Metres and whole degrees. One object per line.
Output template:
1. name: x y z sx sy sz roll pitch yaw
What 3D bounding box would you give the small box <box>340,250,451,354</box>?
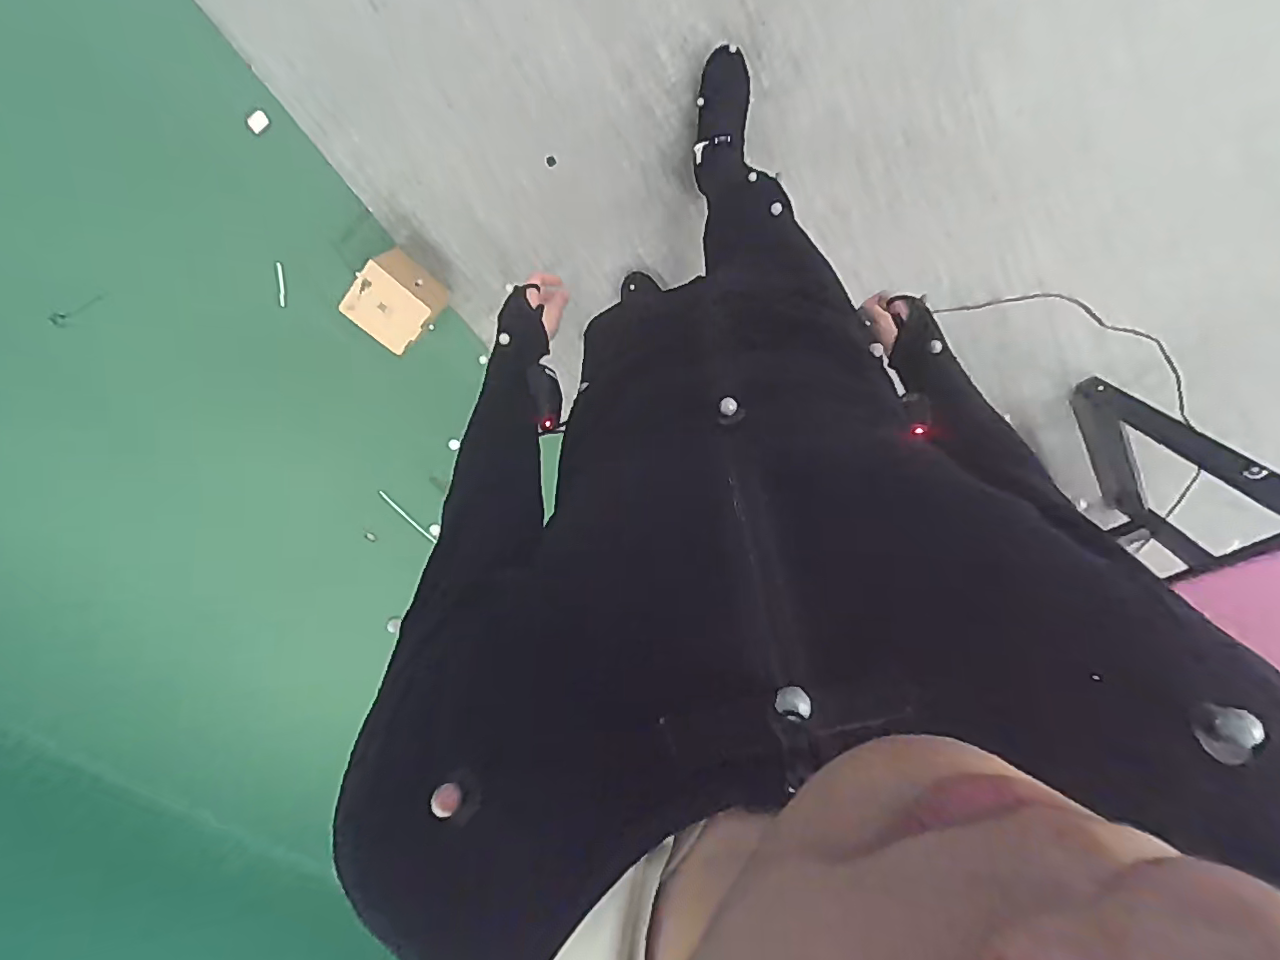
1. small box: -0.619 -0.464 1.393 0.179 0.176 0.168 40 115 -22
